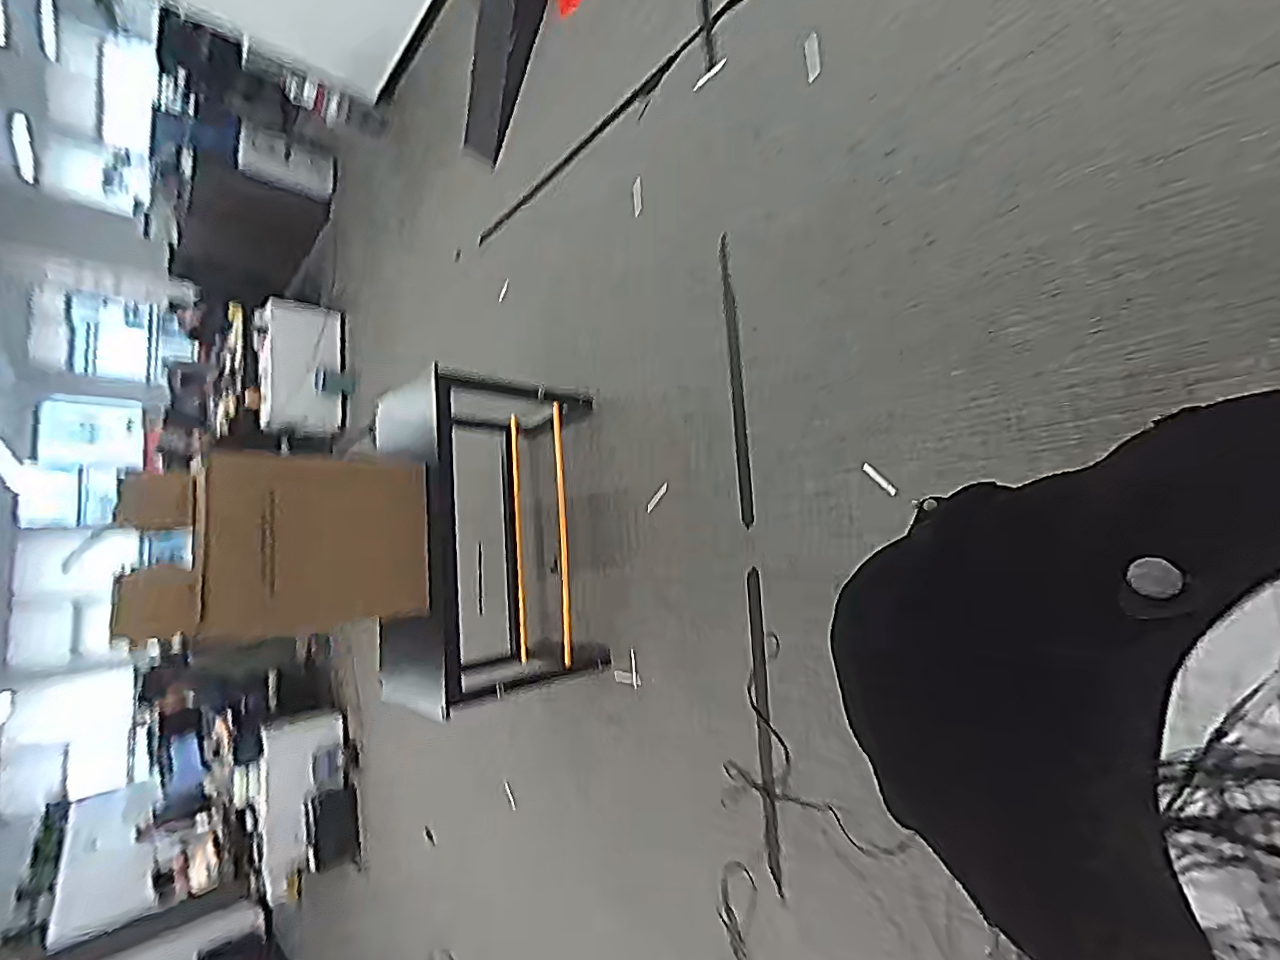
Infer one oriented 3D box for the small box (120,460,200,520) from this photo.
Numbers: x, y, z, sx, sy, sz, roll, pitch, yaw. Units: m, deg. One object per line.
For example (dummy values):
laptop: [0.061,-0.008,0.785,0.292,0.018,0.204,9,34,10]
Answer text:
small box: [-1.419,0.033,1.598,0.179,0.176,0.168,-8,85,46]
